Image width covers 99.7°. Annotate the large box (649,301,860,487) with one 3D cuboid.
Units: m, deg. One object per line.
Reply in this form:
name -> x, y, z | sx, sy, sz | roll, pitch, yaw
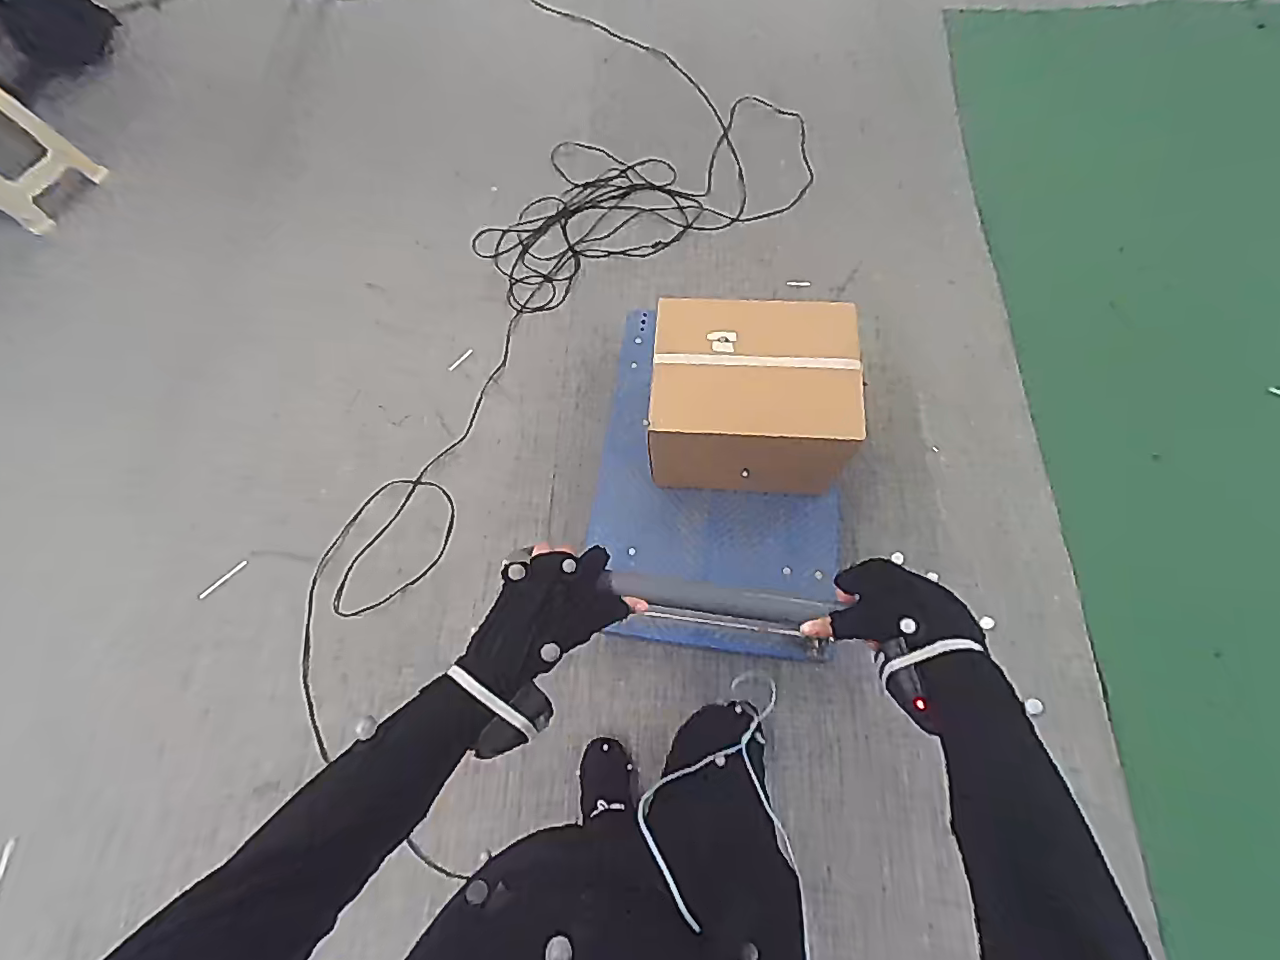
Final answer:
large box -> 0.237, -0.178, 1.217 | 0.408, 0.320, 0.320 | 2, 69, 6
